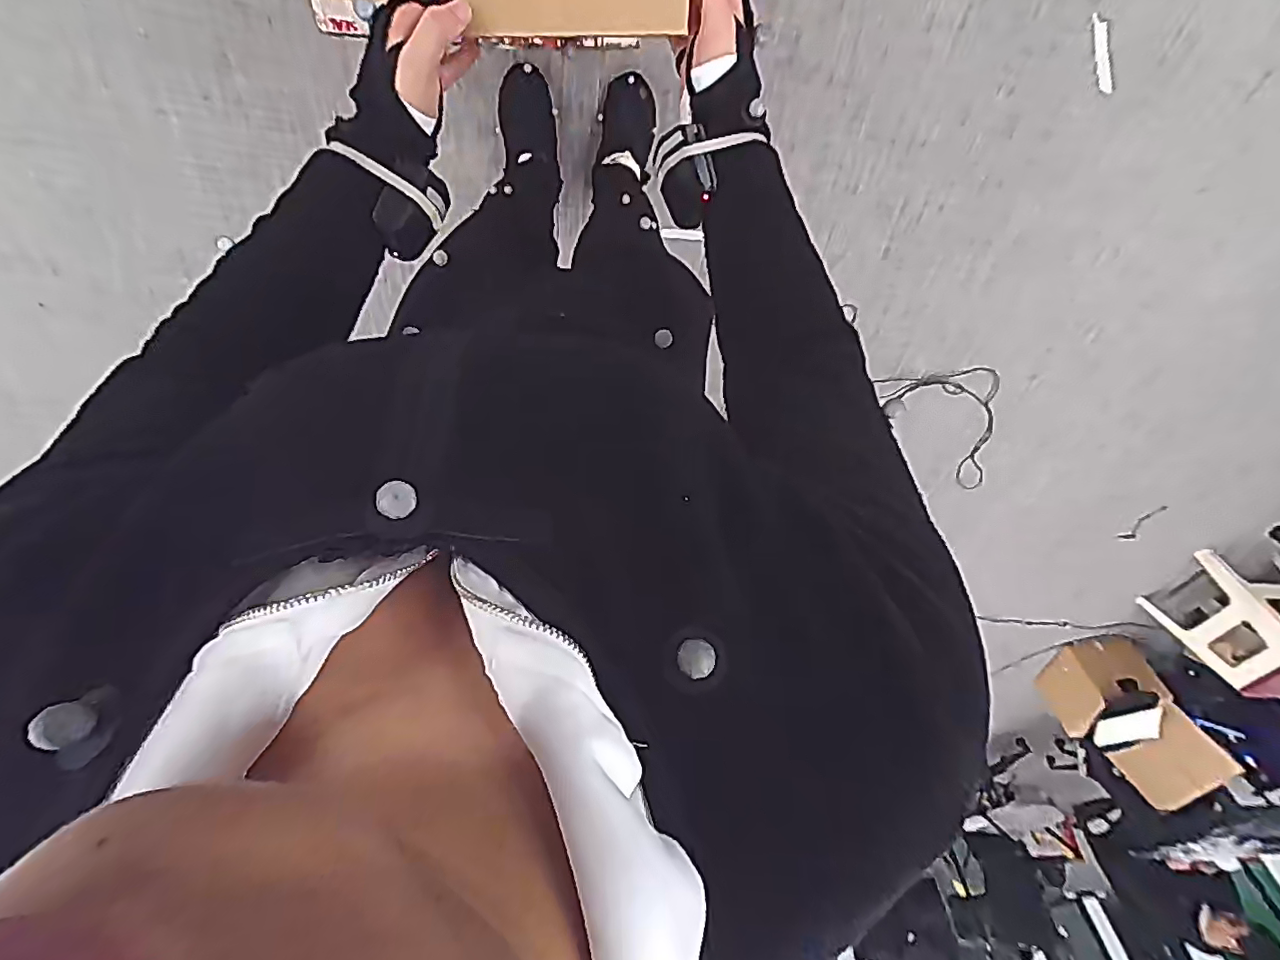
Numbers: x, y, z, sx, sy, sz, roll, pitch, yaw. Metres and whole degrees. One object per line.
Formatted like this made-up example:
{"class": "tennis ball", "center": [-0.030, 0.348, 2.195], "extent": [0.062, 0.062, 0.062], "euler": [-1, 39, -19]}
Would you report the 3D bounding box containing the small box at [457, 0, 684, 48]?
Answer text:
{"class": "small box", "center": [-0.056, -0.441, 0.406], "extent": [0.168, 0.176, 0.179], "euler": [-5, 130, -6]}
